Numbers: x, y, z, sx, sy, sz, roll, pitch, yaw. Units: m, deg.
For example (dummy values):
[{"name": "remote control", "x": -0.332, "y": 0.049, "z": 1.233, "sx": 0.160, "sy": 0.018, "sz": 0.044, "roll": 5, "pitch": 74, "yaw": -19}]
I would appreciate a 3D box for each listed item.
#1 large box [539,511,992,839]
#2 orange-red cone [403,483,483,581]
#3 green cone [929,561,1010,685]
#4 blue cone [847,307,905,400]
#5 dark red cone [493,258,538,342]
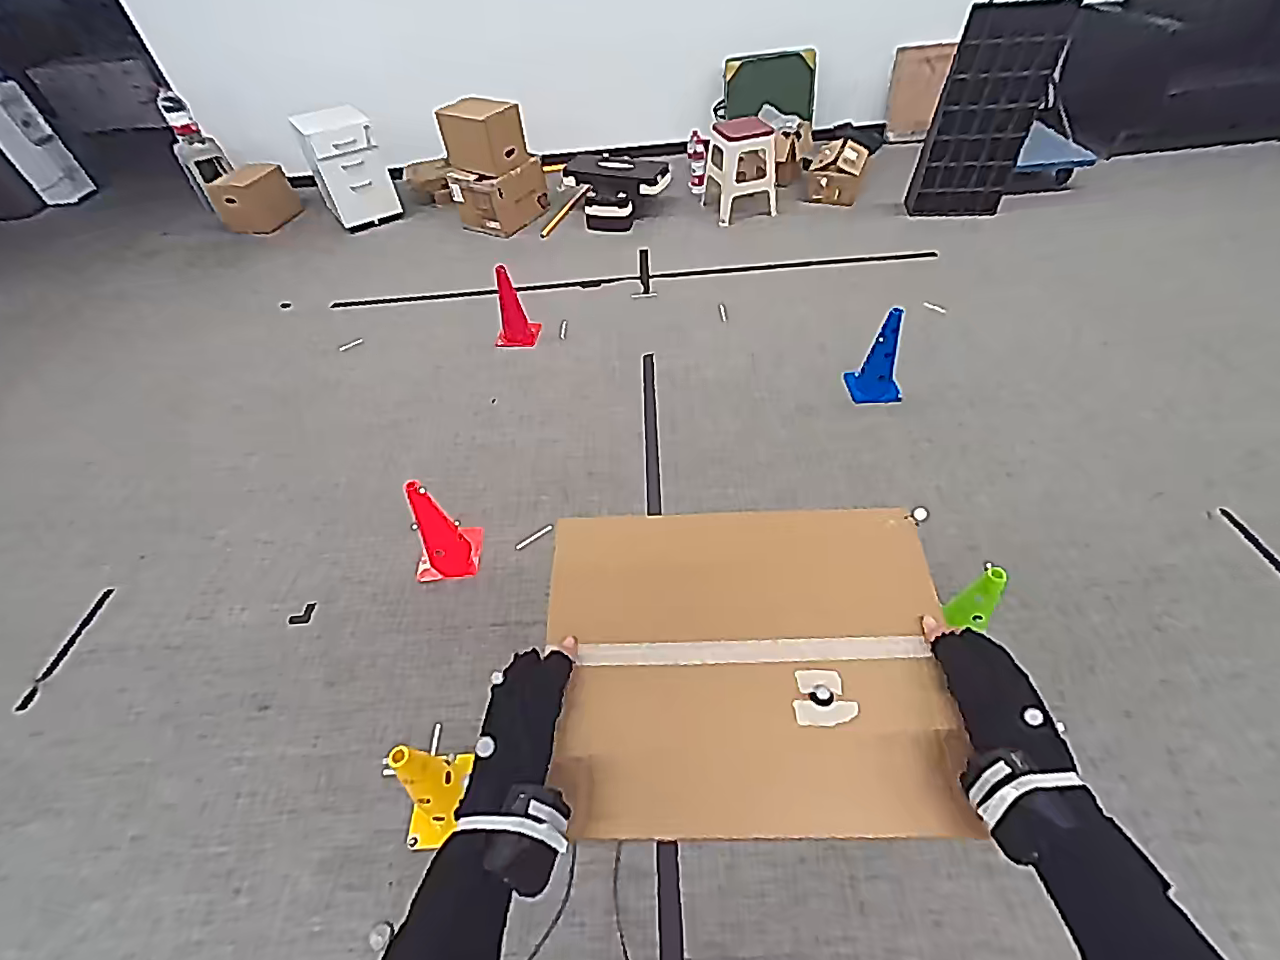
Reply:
[{"name": "large box", "x": 0.111, "y": 0.253, "z": 0.674, "sx": 0.408, "sy": 0.320, "sz": 0.320, "roll": -2, "pitch": 59, "yaw": 2}, {"name": "orange-red cone", "x": -0.651, "y": 0.138, "z": 1.698, "sx": 0.198, "sy": 0.360, "sz": 0.199, "roll": -7, "pitch": 49, "yaw": 1}, {"name": "green cone", "x": 0.840, "y": 0.328, "z": 1.374, "sx": 0.202, "sy": 0.368, "sz": 0.200, "roll": -33, "pitch": 54, "yaw": -24}, {"name": "blue cone", "x": 0.961, "y": -0.504, "z": 2.132, "sx": 0.192, "sy": 0.380, "sz": 0.193, "roll": -1, "pitch": 48, "yaw": 3}, {"name": "dark red cone", "x": -0.620, "y": -0.847, "z": 2.546, "sx": 0.201, "sy": 0.394, "sz": 0.202, "roll": 1, "pitch": 48, "yaw": 5}]
